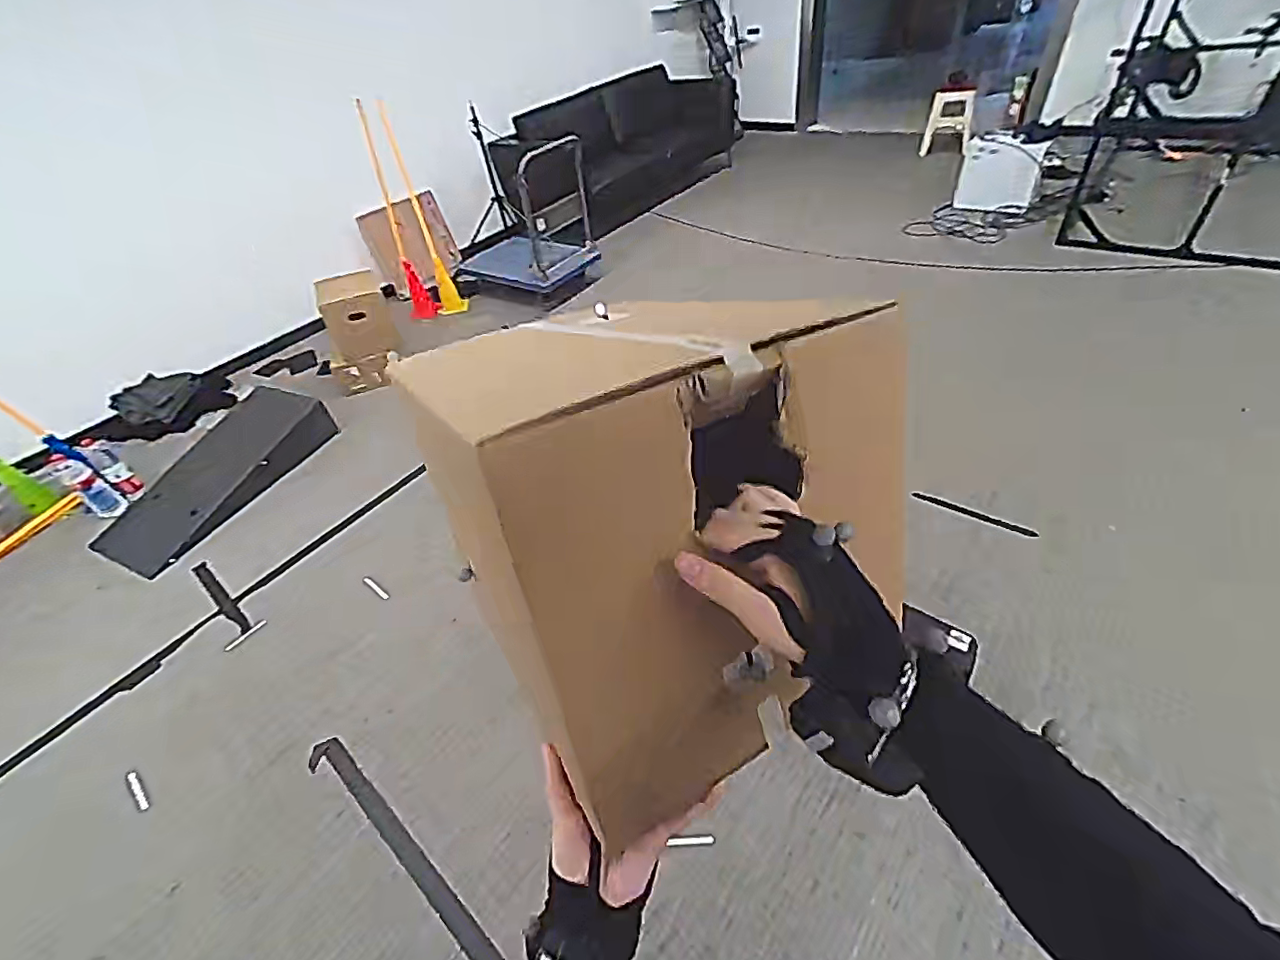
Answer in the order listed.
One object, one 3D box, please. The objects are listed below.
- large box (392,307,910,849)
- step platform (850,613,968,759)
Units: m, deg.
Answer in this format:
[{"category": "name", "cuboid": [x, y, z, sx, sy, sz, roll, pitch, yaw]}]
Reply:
[{"category": "large box", "cuboid": [-0.009, 0.025, 0.533, 0.320, 0.320, 0.408, -22, 24, -24]}, {"category": "step platform", "cuboid": [0.518, 0.425, 1.520, 0.684, 0.204, 0.286, 30, 56, 36]}]
